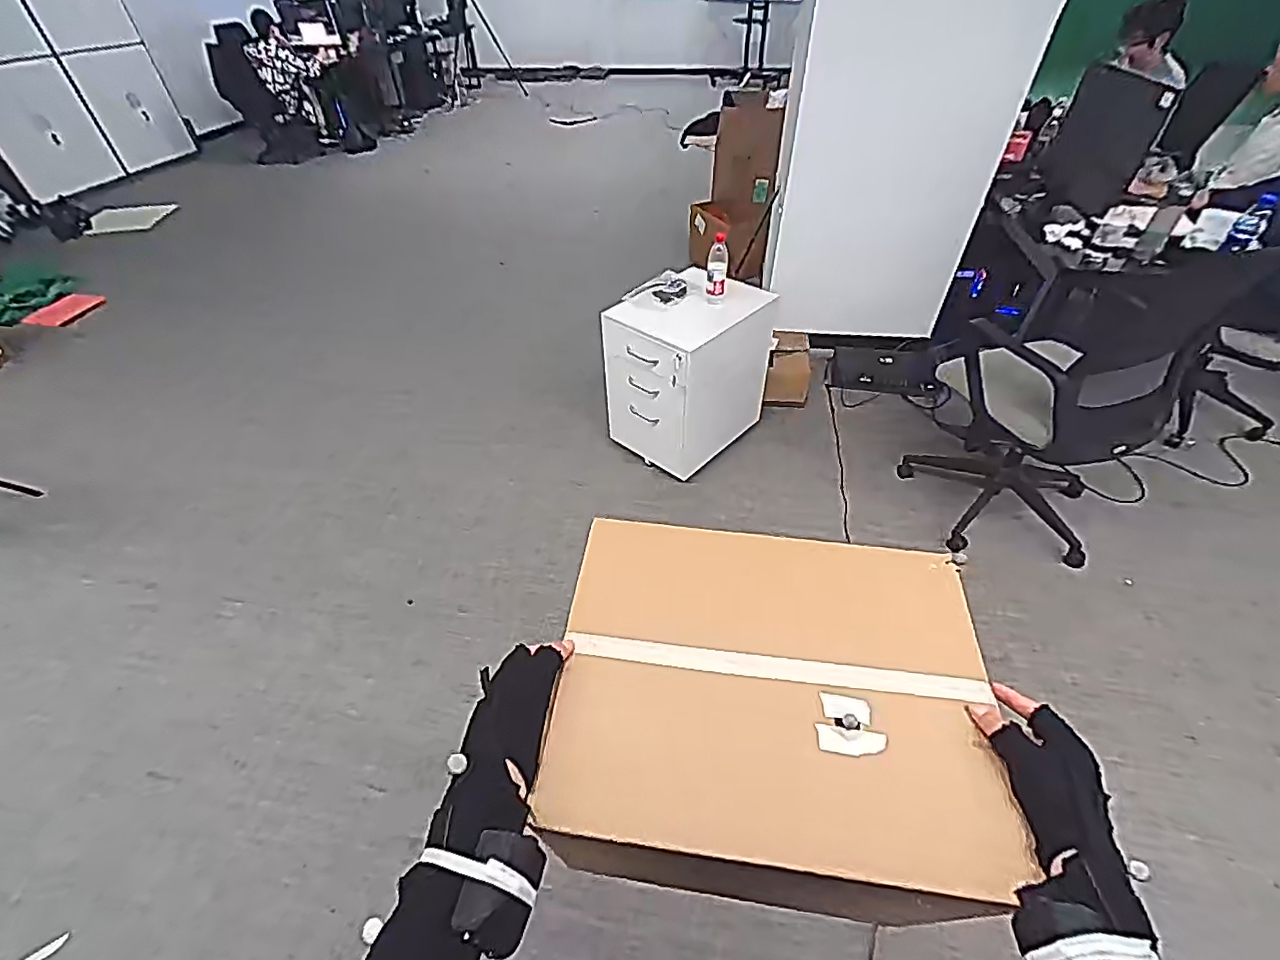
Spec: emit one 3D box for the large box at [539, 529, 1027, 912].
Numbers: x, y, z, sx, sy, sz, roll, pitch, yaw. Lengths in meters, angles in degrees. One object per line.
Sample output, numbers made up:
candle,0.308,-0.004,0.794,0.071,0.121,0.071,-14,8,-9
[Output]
large box,0.127,0.286,0.647,0.408,0.320,0.320,6,50,6
